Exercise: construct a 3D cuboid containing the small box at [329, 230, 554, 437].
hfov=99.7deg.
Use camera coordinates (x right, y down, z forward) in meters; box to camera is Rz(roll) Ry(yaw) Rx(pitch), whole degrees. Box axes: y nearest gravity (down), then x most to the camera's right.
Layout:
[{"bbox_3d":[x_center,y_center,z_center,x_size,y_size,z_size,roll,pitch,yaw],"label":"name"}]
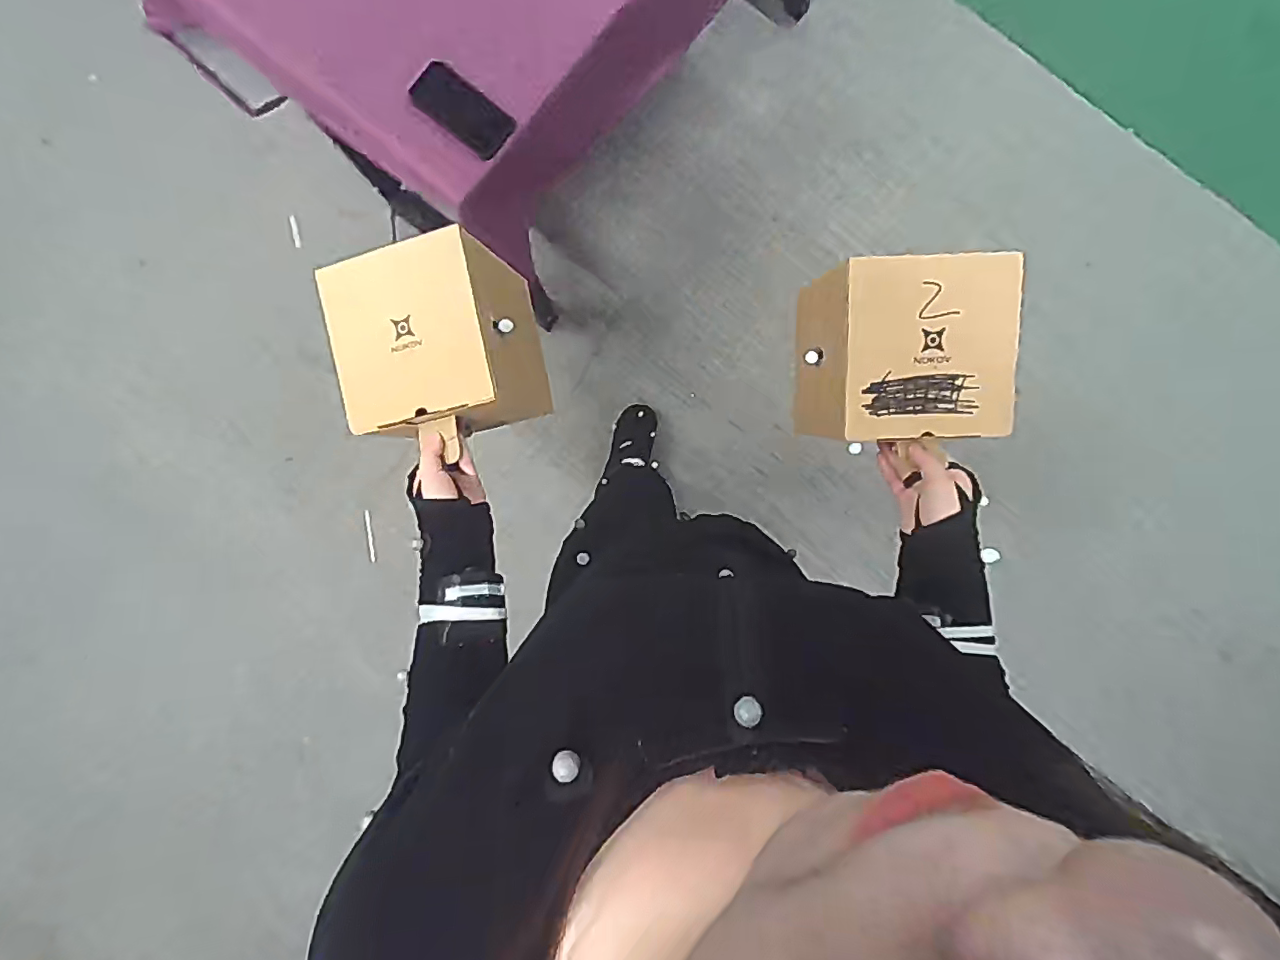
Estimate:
[{"bbox_3d":[-0.215,-0.152,0.626,0.168,0.176,0.179,-11,91,11],"label":"small box"}]
